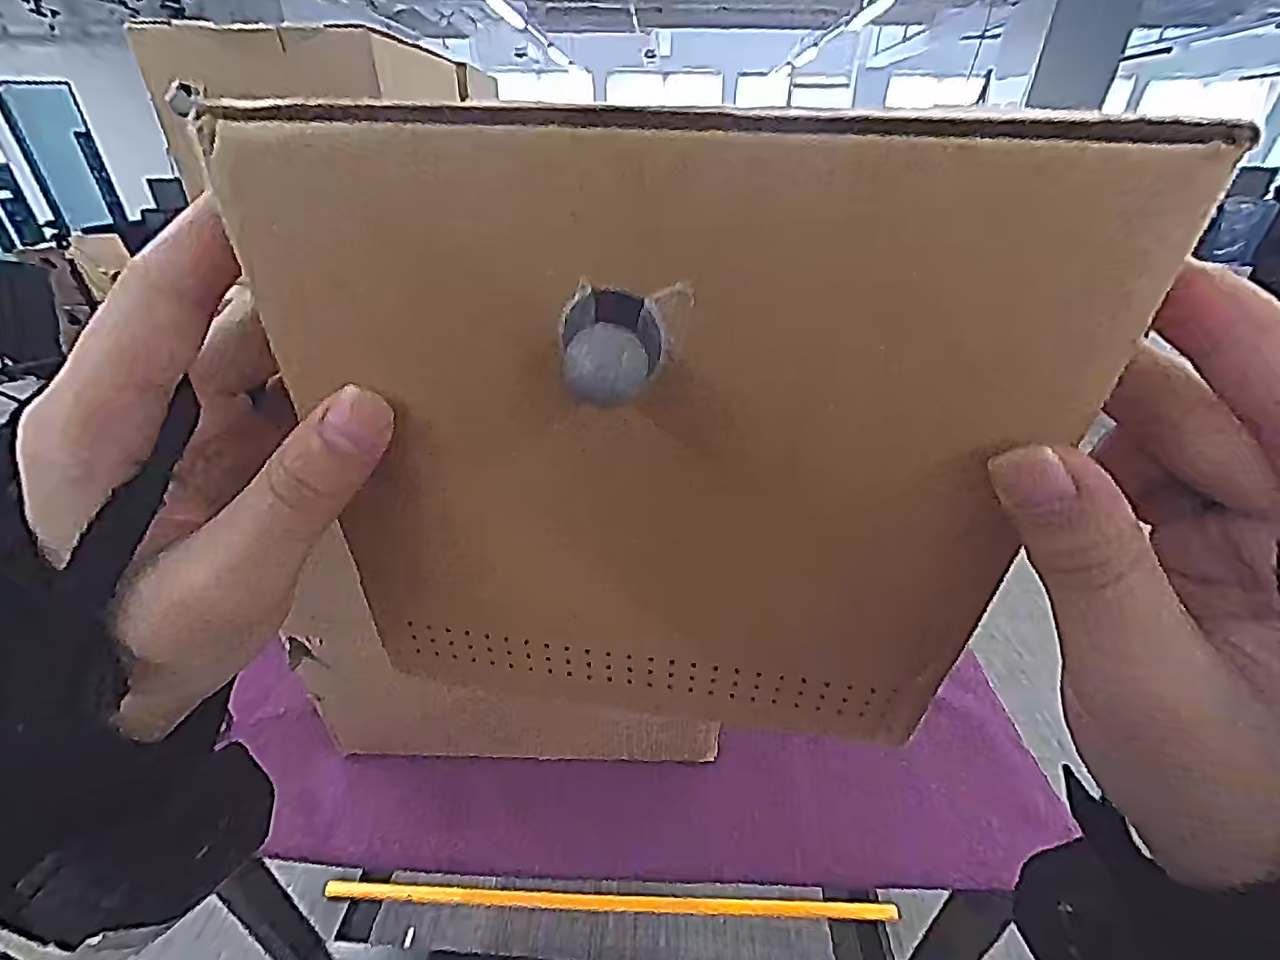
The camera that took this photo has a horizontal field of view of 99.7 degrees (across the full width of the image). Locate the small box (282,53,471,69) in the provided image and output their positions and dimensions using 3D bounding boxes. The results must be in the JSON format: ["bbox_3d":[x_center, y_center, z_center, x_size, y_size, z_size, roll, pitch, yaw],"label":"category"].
[{"bbox_3d":[-0.257,-0.369,0.620,0.179,0.176,0.168,1,32,-2],"label":"small box"}]

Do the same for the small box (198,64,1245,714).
[{"bbox_3d":[0.015,-0.040,0.198,0.179,0.176,0.168,5,35,6],"label":"small box"}]
